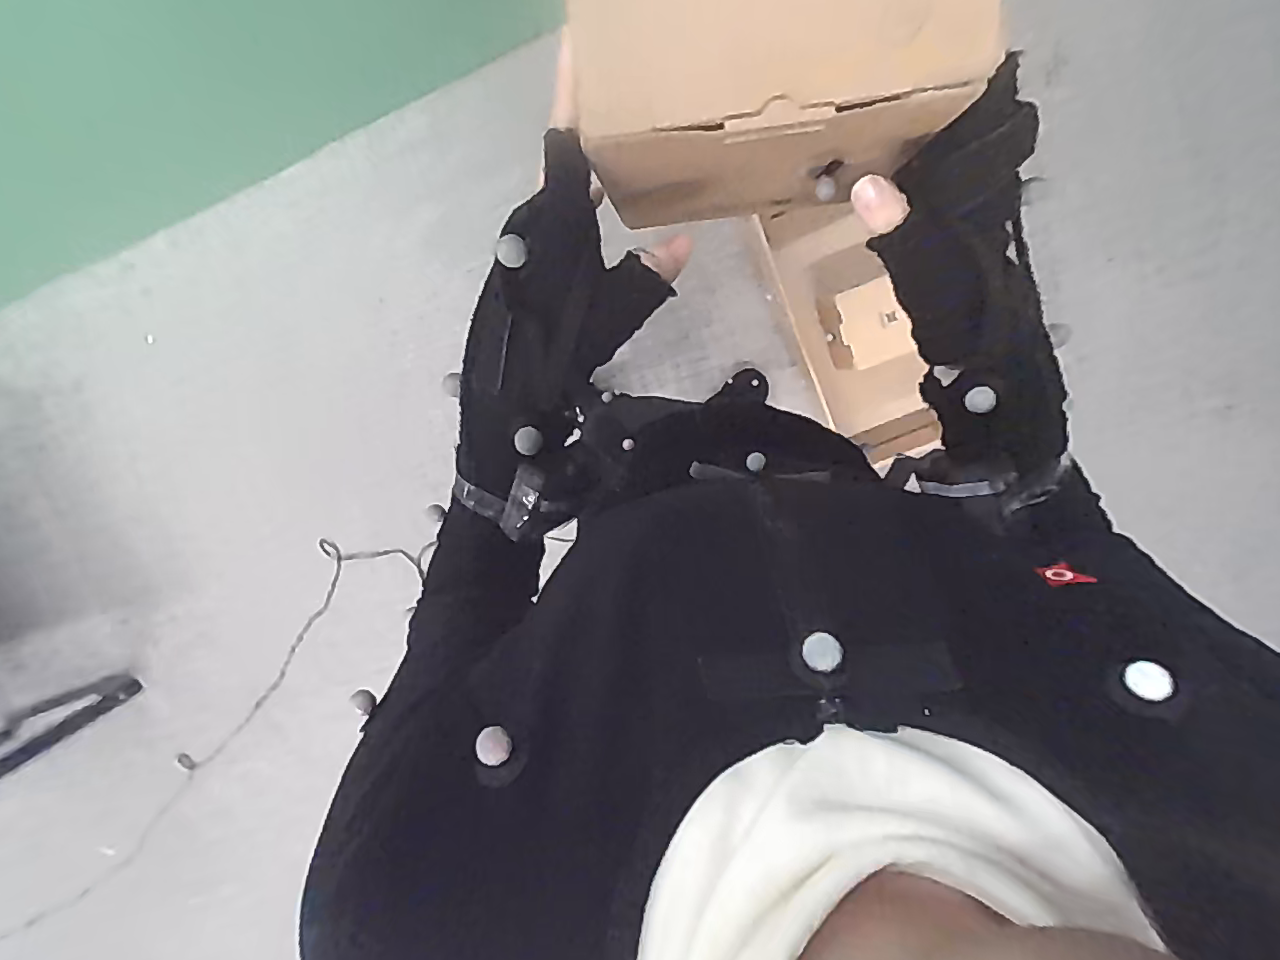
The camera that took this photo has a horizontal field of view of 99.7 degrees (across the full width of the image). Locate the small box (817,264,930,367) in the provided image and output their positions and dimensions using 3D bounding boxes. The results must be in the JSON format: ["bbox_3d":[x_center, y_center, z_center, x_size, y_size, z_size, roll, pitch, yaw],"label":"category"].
[{"bbox_3d":[0.504,-0.355,1.198,0.179,0.176,0.168,-19,101,9],"label":"small box"}]

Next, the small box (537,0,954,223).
[{"bbox_3d":[0.043,-0.248,0.284,0.168,0.176,0.179,-5,103,6],"label":"small box"}]
